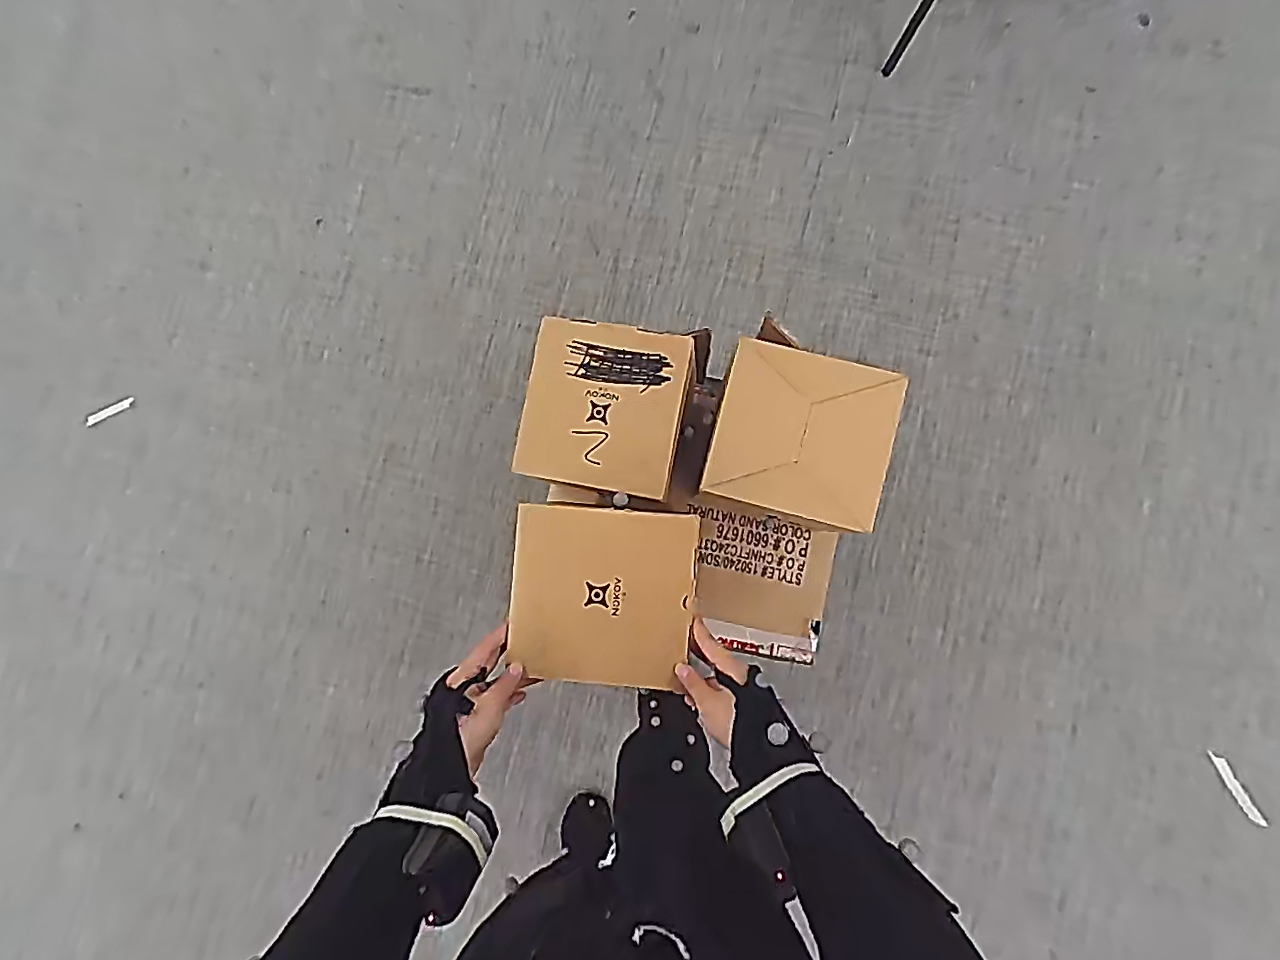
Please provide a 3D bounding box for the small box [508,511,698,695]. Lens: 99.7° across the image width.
[{"bbox_3d":[-0.033,0.123,0.603,0.179,0.176,0.168,4,88,1],"label":"small box"}]
